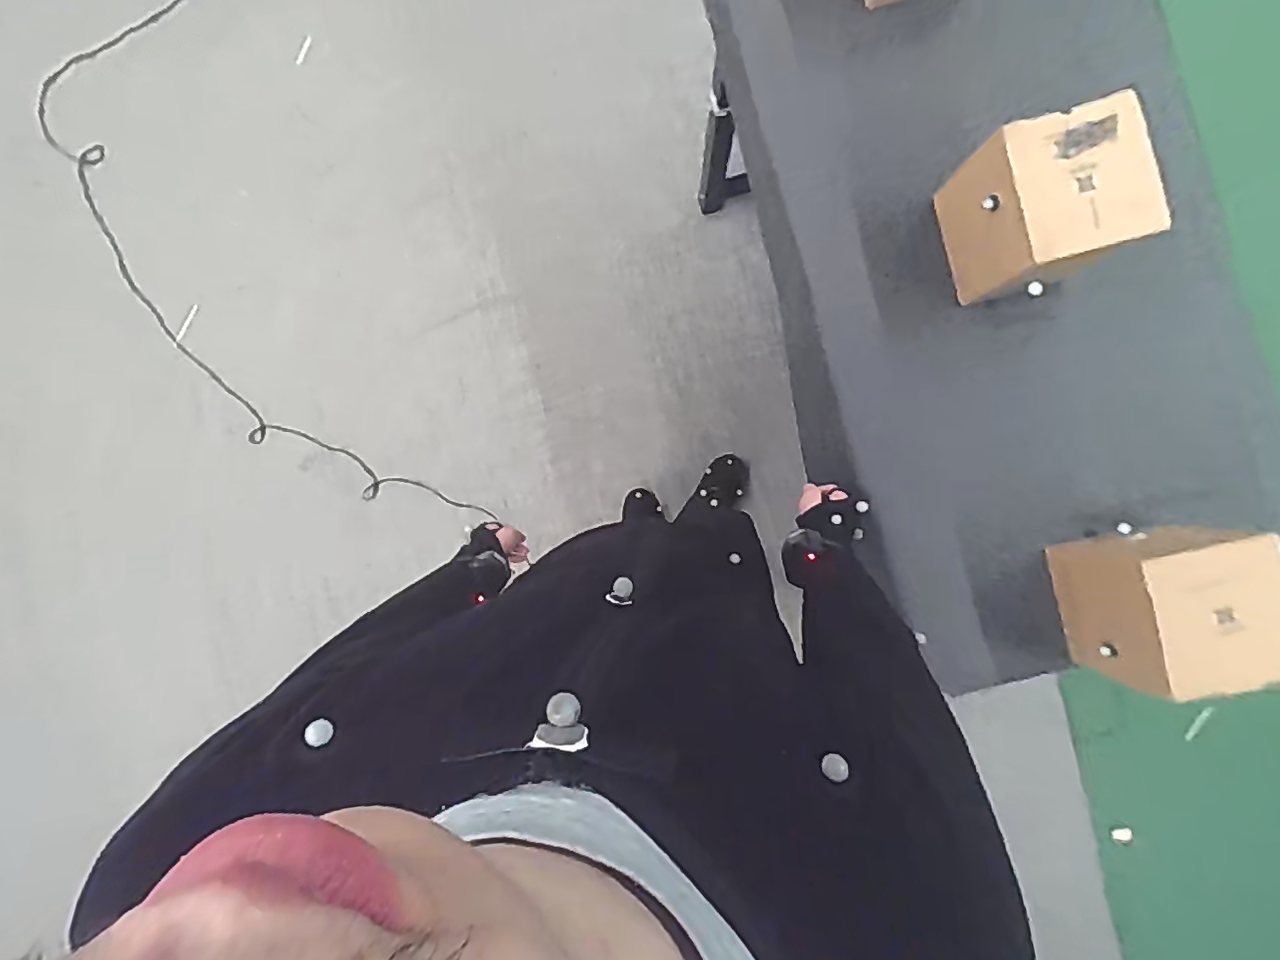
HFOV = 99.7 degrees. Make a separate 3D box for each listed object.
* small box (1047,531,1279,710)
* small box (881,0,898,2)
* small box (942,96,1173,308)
[{"bbox_3d":[0.693,0.173,0.716,0.168,0.176,0.179,-13,88,2],"label":"small box"},{"bbox_3d":[0.404,-0.804,0.733,0.168,0.176,0.179,-13,90,3],"label":"small box"},{"bbox_3d":[0.538,-0.356,0.725,0.168,0.176,0.179,-14,90,3],"label":"small box"}]
